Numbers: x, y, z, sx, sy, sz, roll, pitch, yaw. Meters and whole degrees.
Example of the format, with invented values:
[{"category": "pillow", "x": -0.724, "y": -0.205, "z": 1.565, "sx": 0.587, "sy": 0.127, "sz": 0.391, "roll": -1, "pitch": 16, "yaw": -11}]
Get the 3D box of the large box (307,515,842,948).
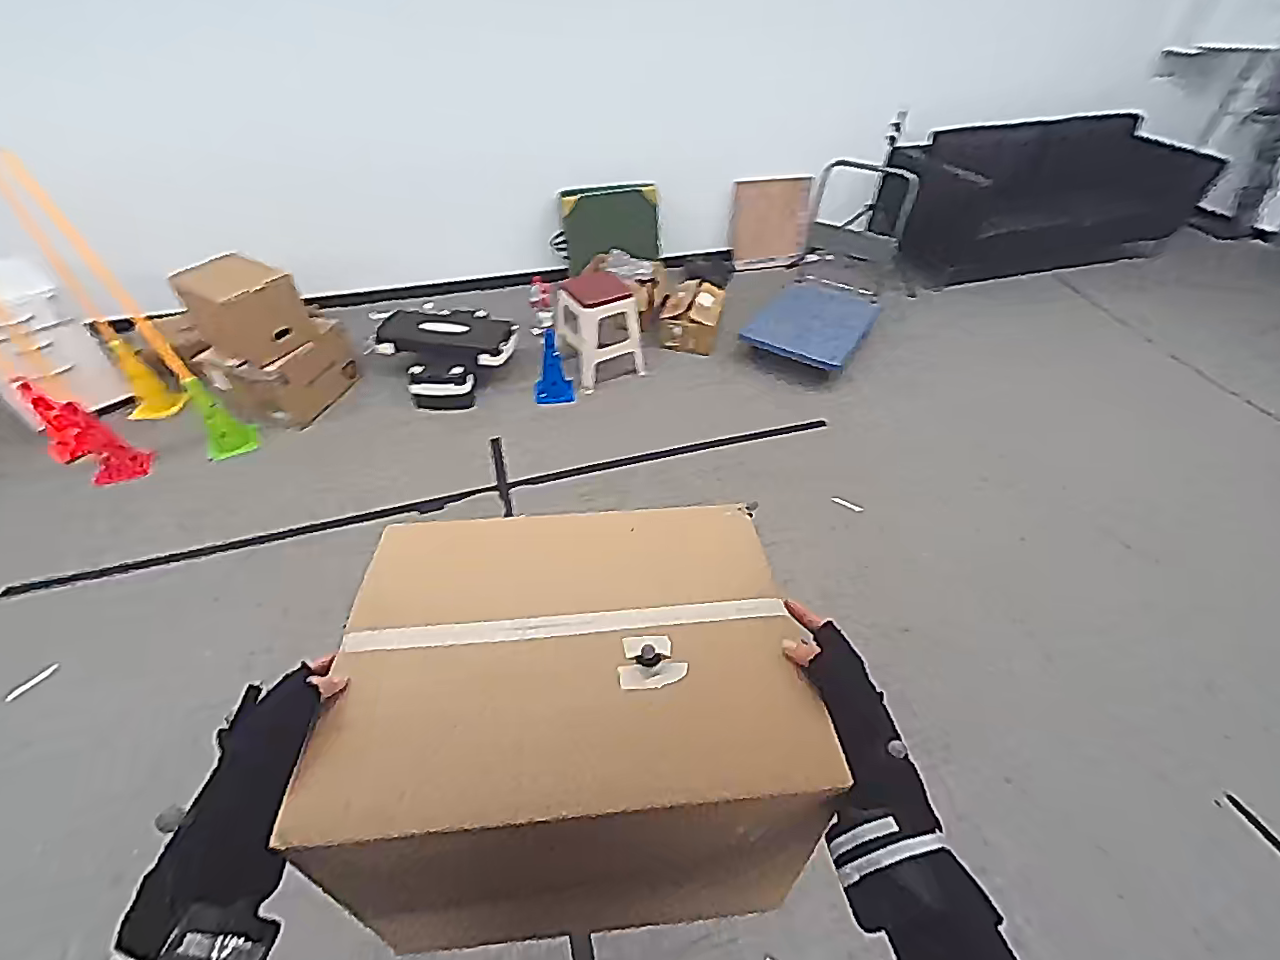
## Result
[{"category": "large box", "x": -0.058, "y": 0.263, "z": 0.603, "sx": 0.408, "sy": 0.320, "sz": 0.320, "roll": -3, "pitch": 39, "yaw": -5}]
